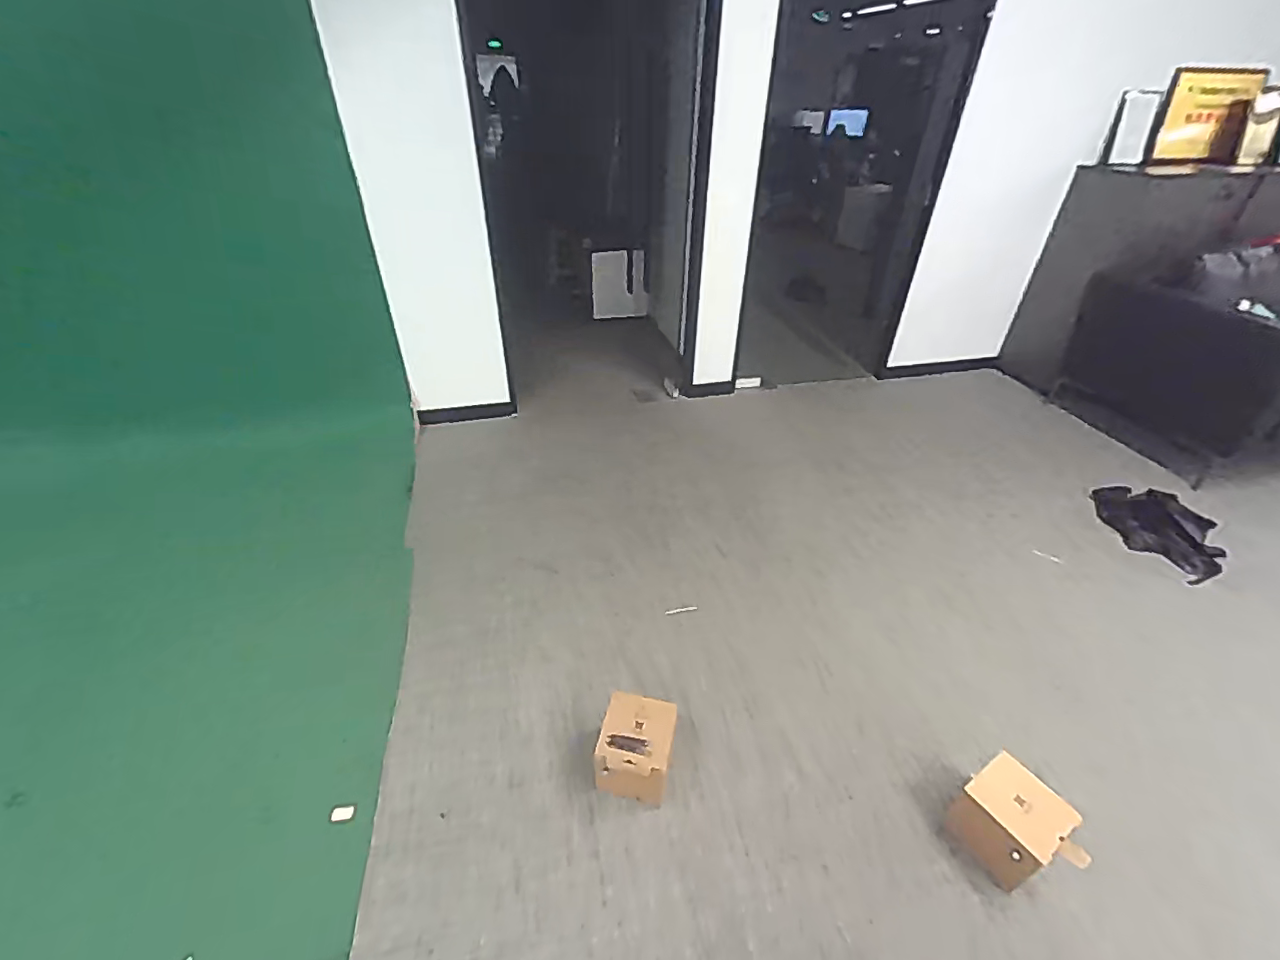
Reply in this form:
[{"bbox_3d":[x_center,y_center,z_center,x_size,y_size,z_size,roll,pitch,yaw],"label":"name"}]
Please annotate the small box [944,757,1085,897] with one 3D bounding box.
[{"bbox_3d":[0.820,0.770,1.202,0.168,0.176,0.179,-20,42,-27],"label":"small box"}]
